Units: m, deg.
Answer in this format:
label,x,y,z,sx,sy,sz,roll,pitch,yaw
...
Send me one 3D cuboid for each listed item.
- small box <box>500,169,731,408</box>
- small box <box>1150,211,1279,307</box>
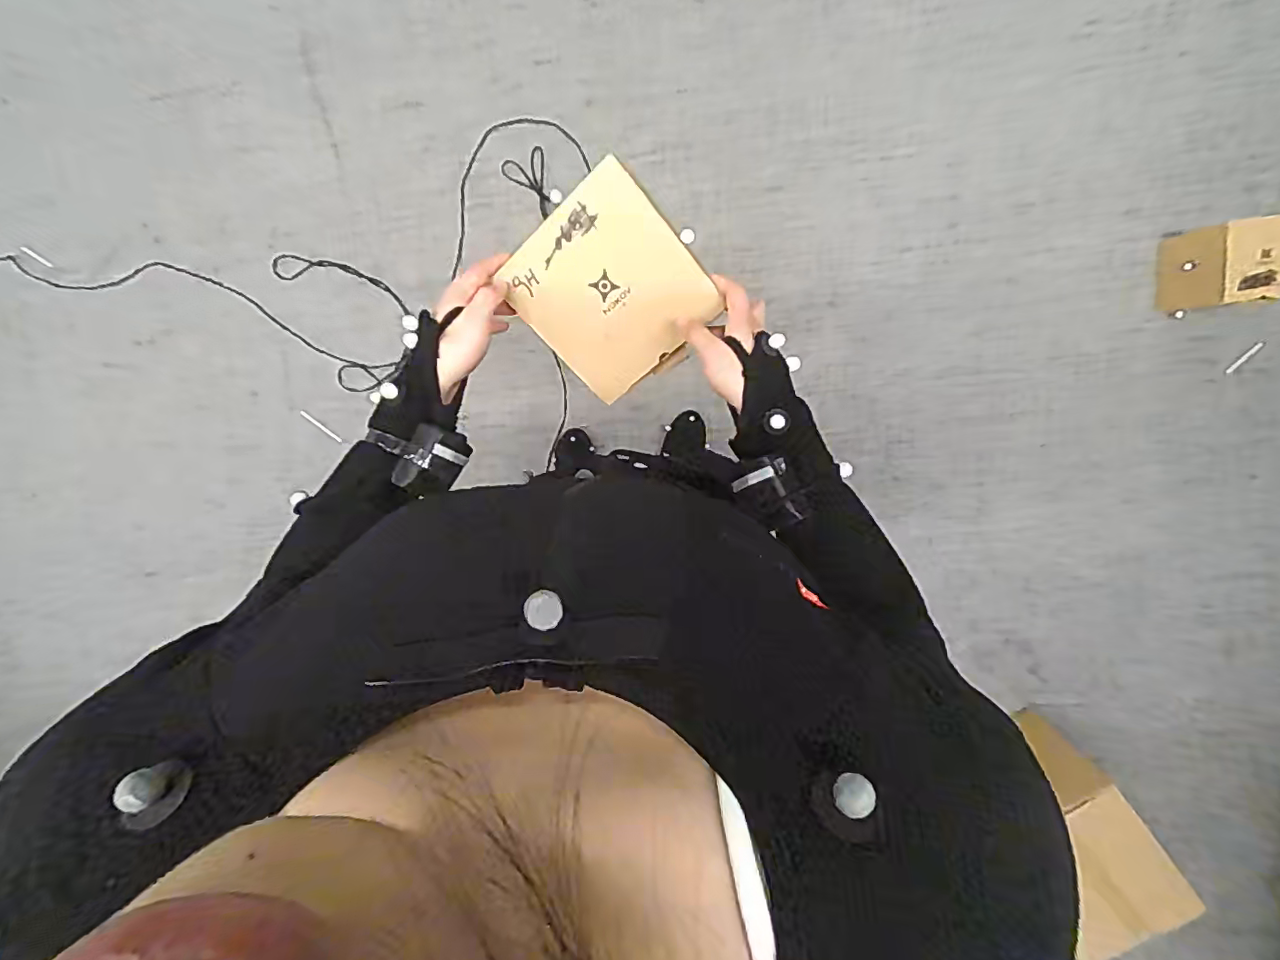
label,x,y,z,sx,sy,sz,roll,pitch,yaw
small box,-0.021,-0.219,0.604,0.168,0.176,0.179,-36,113,20
small box,1.337,-0.501,1.249,0.168,0.176,0.179,-5,100,4
